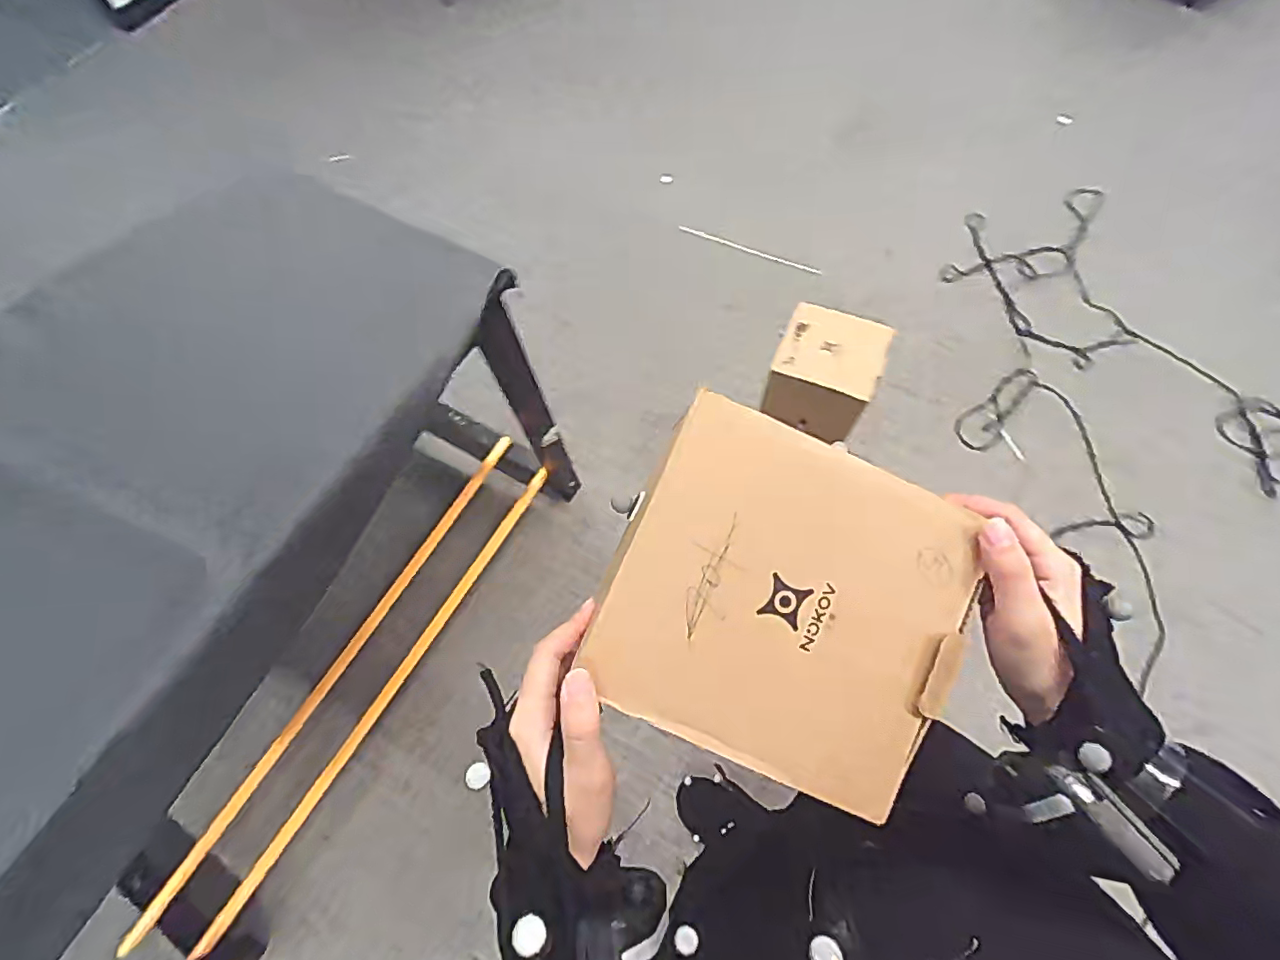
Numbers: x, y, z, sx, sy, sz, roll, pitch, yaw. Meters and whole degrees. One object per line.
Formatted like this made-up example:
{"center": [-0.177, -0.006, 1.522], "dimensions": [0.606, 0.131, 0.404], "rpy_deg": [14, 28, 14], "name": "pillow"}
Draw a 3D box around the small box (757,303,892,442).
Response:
{"center": [0.338, -0.193, 1.018], "dimensions": [0.179, 0.176, 0.168], "rpy_deg": [22, 69, 12], "name": "small box"}
